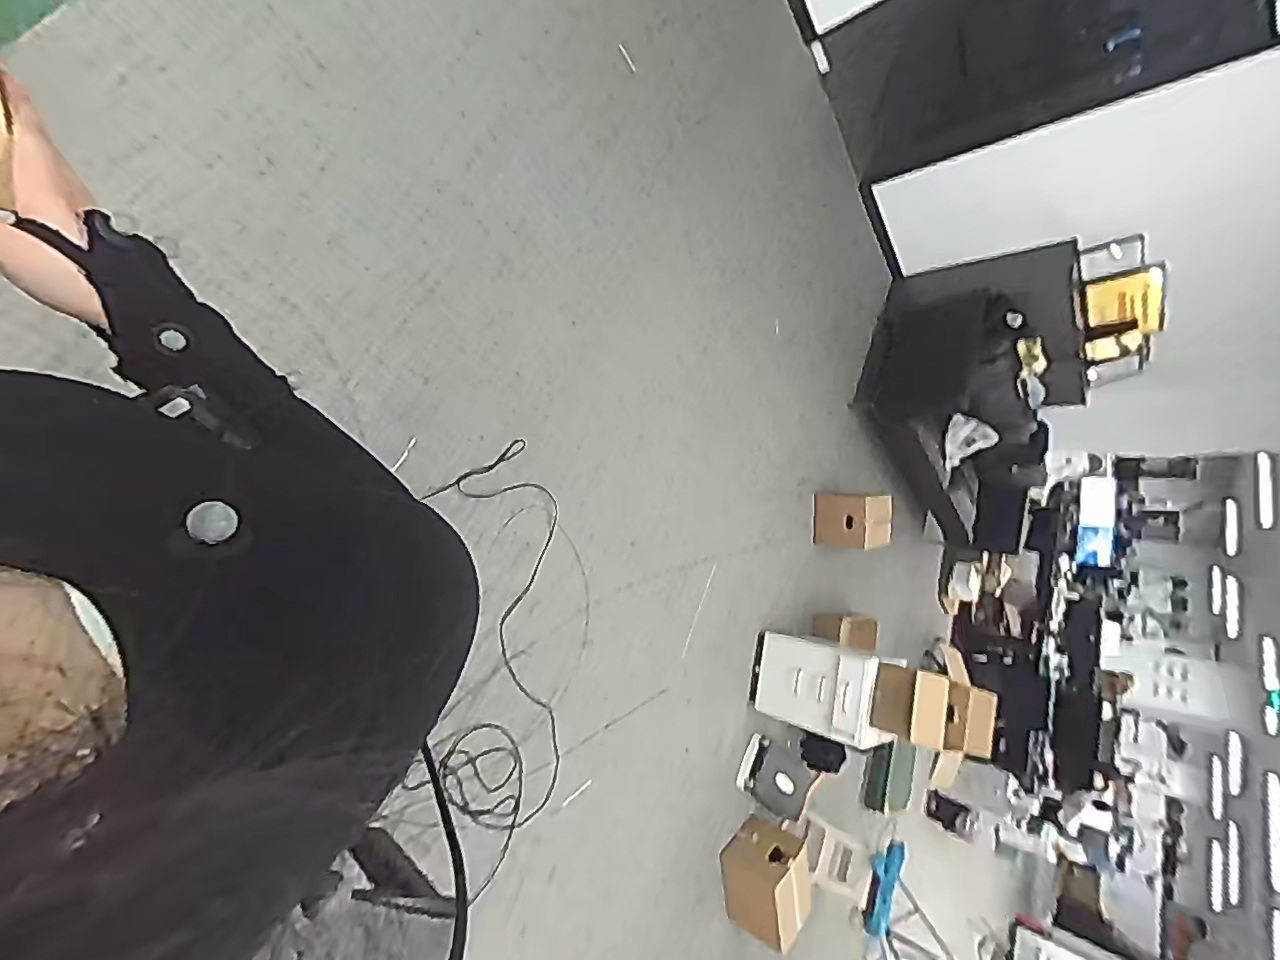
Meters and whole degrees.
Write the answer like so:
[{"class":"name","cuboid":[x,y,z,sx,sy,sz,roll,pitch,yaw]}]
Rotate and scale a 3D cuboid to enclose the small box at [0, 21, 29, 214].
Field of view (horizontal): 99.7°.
[{"class":"small box","cuboid":[-0.470,-0.256,0.295,0.168,0.176,0.179,-12,116,-47]}]
